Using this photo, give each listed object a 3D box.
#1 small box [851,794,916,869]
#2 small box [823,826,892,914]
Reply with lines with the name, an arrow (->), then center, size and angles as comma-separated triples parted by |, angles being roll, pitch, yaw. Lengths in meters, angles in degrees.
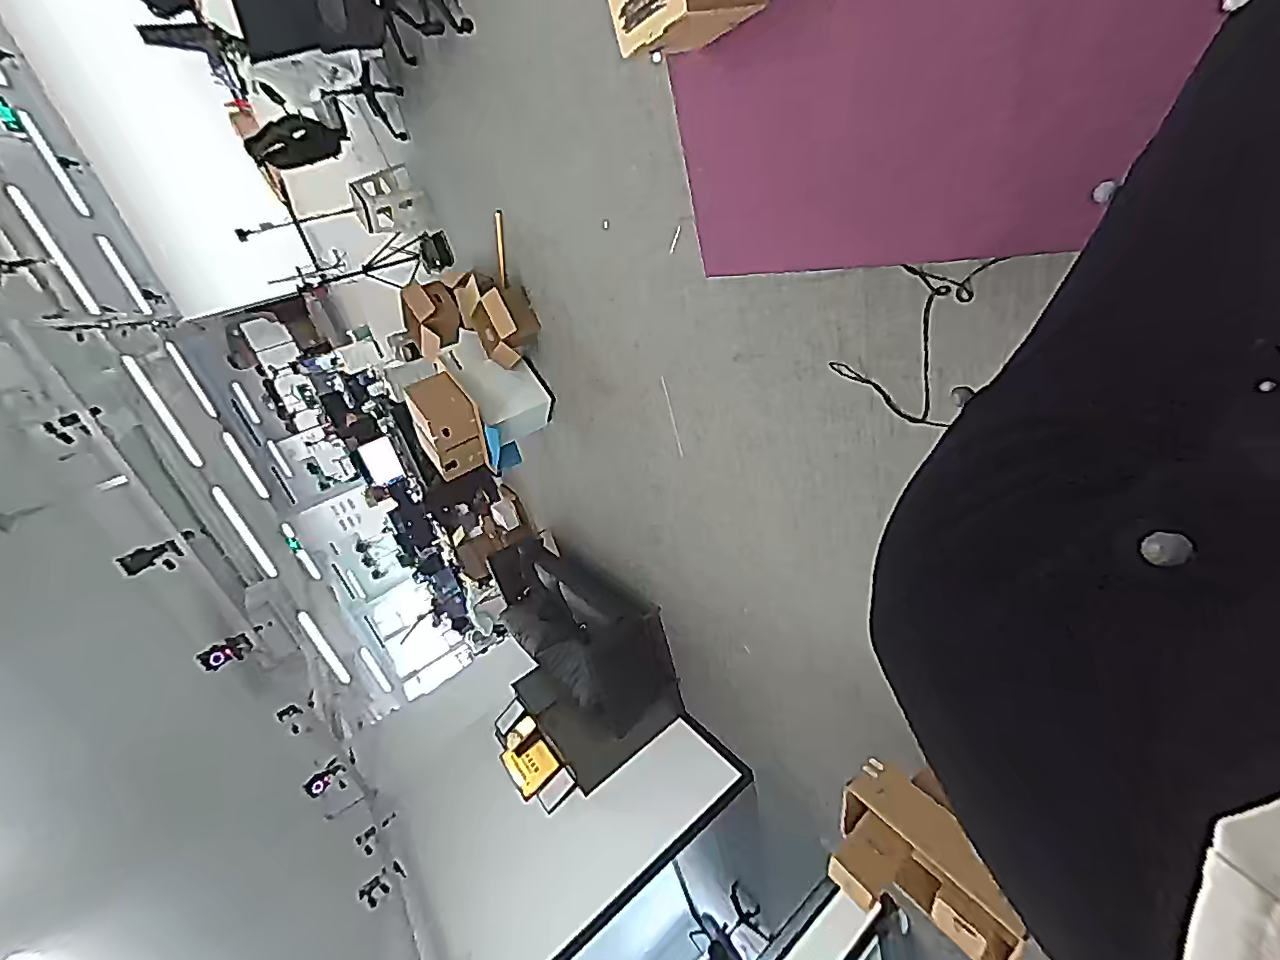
small box -> 0.912, 1.339, 2.040 | 0.168, 0.176, 0.179 | 33, 142, 42
small box -> 0.789, 1.412, 1.963 | 0.168, 0.176, 0.179 | 32, 142, 43
